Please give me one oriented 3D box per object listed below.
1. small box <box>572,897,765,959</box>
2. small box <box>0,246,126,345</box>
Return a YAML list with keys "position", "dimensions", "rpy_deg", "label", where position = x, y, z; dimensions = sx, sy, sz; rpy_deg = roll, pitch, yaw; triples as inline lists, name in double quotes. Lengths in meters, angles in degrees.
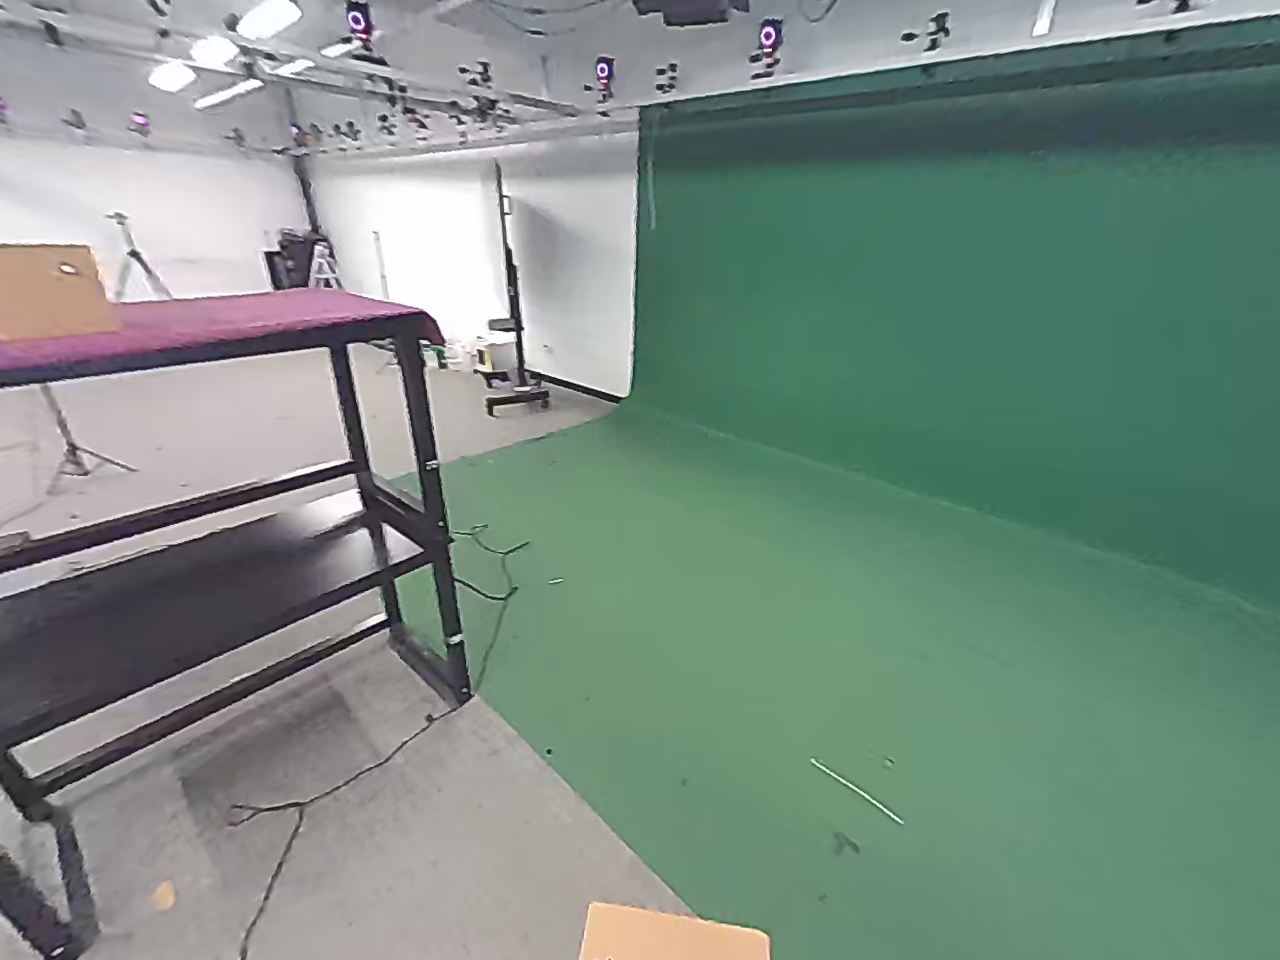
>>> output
- position: [0.014, 0.525, 0.490]
  dimensions: [0.179, 0.176, 0.168]
  rpy_deg: [7, 31, 6]
  label: "small box"
- position: [-1.186, -0.377, 1.095]
  dimensions: [0.168, 0.176, 0.179]
  rpy_deg: [21, 31, 38]
  label: "small box"
